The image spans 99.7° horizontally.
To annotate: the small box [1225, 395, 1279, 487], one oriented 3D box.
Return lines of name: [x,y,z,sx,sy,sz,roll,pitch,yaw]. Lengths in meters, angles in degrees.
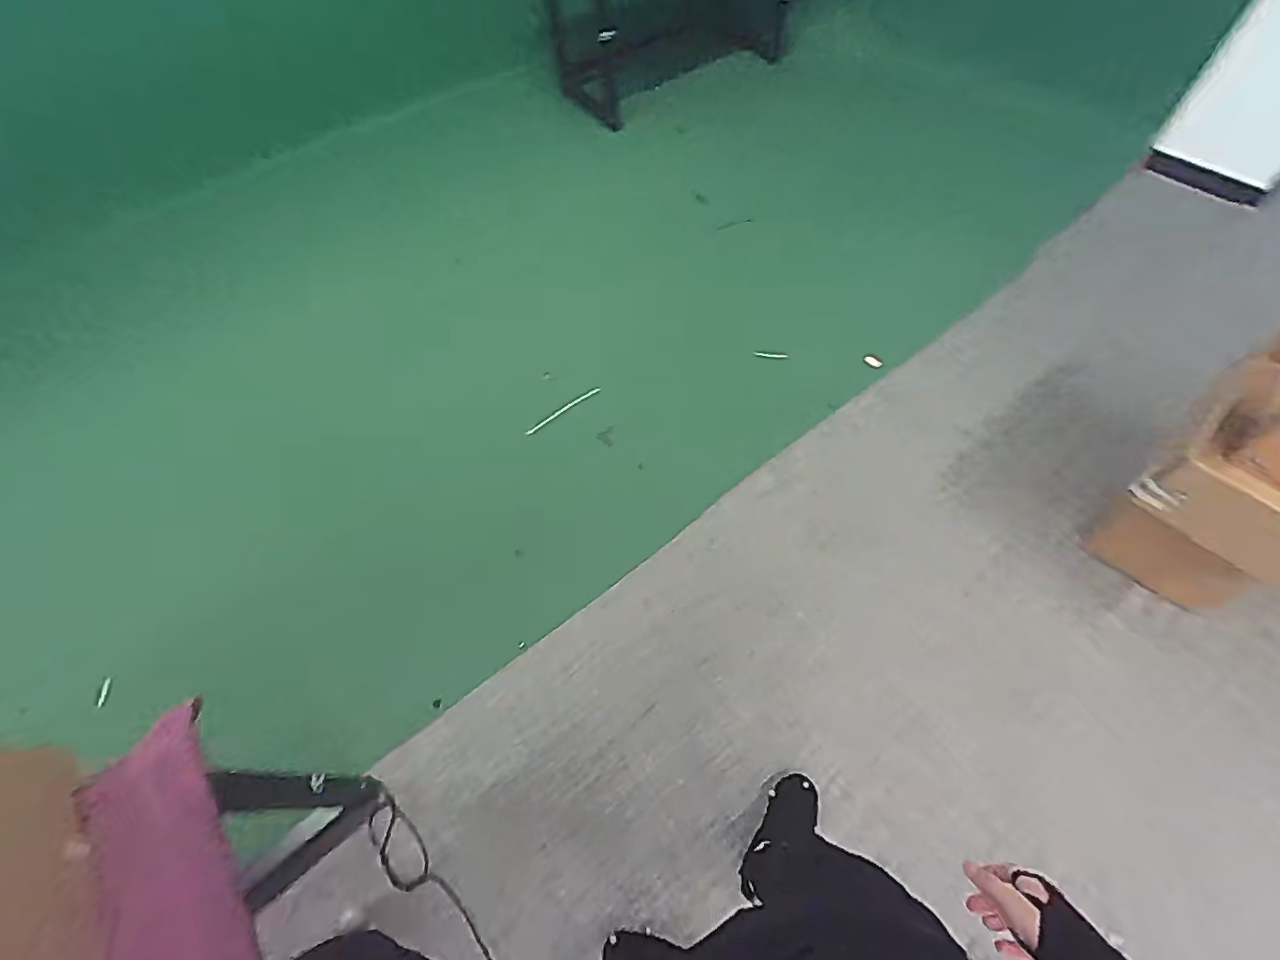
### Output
small box: [1.485,-0.098,1.204,0.179,0.176,0.168,-37,64,-18]
